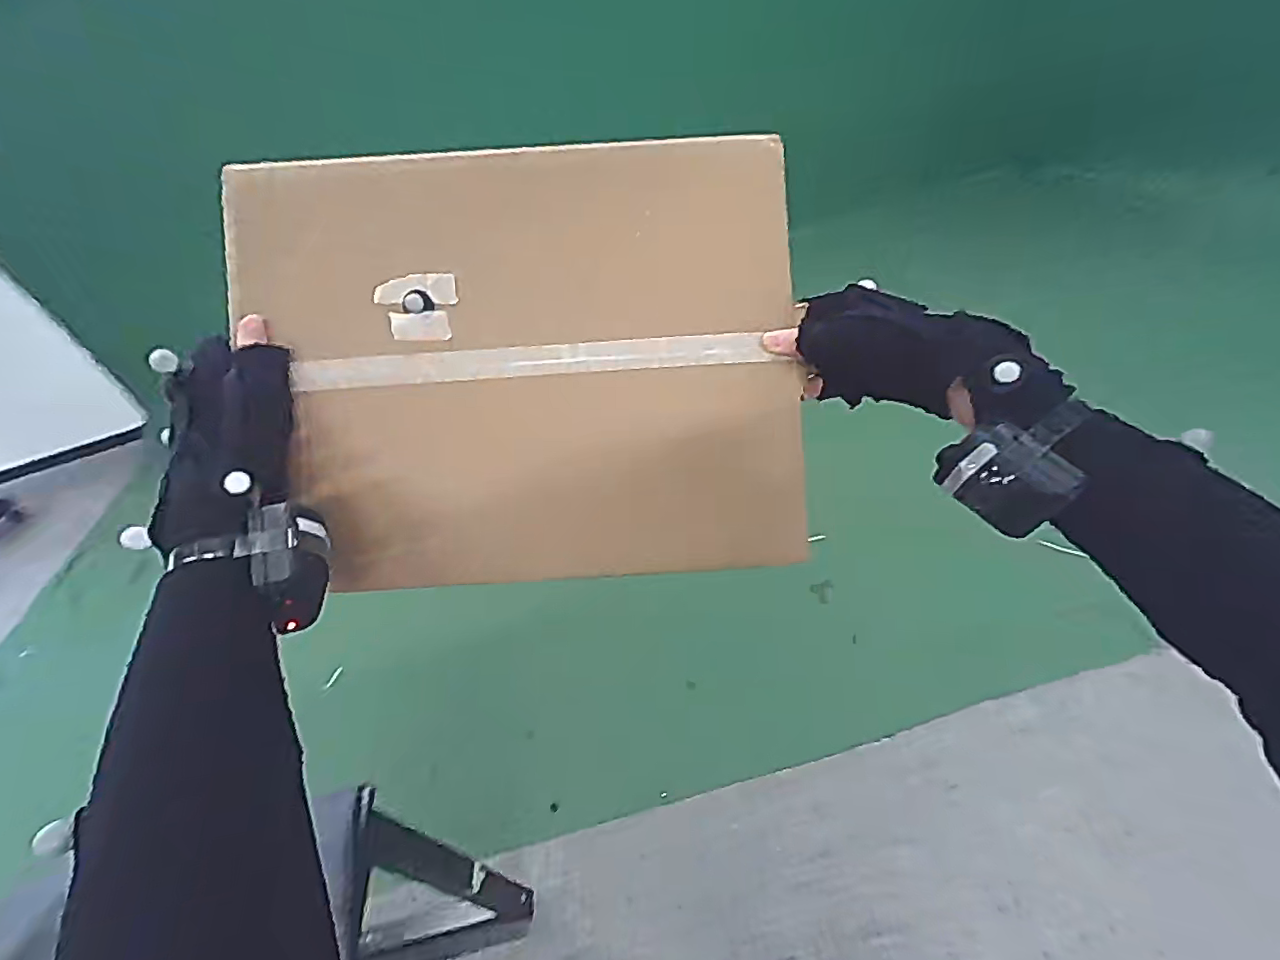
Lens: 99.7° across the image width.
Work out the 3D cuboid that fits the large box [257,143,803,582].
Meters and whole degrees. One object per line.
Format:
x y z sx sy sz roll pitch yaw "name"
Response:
-0.081 -0.089 0.556 0.408 0.320 0.320 -3 -1 1 "large box"
